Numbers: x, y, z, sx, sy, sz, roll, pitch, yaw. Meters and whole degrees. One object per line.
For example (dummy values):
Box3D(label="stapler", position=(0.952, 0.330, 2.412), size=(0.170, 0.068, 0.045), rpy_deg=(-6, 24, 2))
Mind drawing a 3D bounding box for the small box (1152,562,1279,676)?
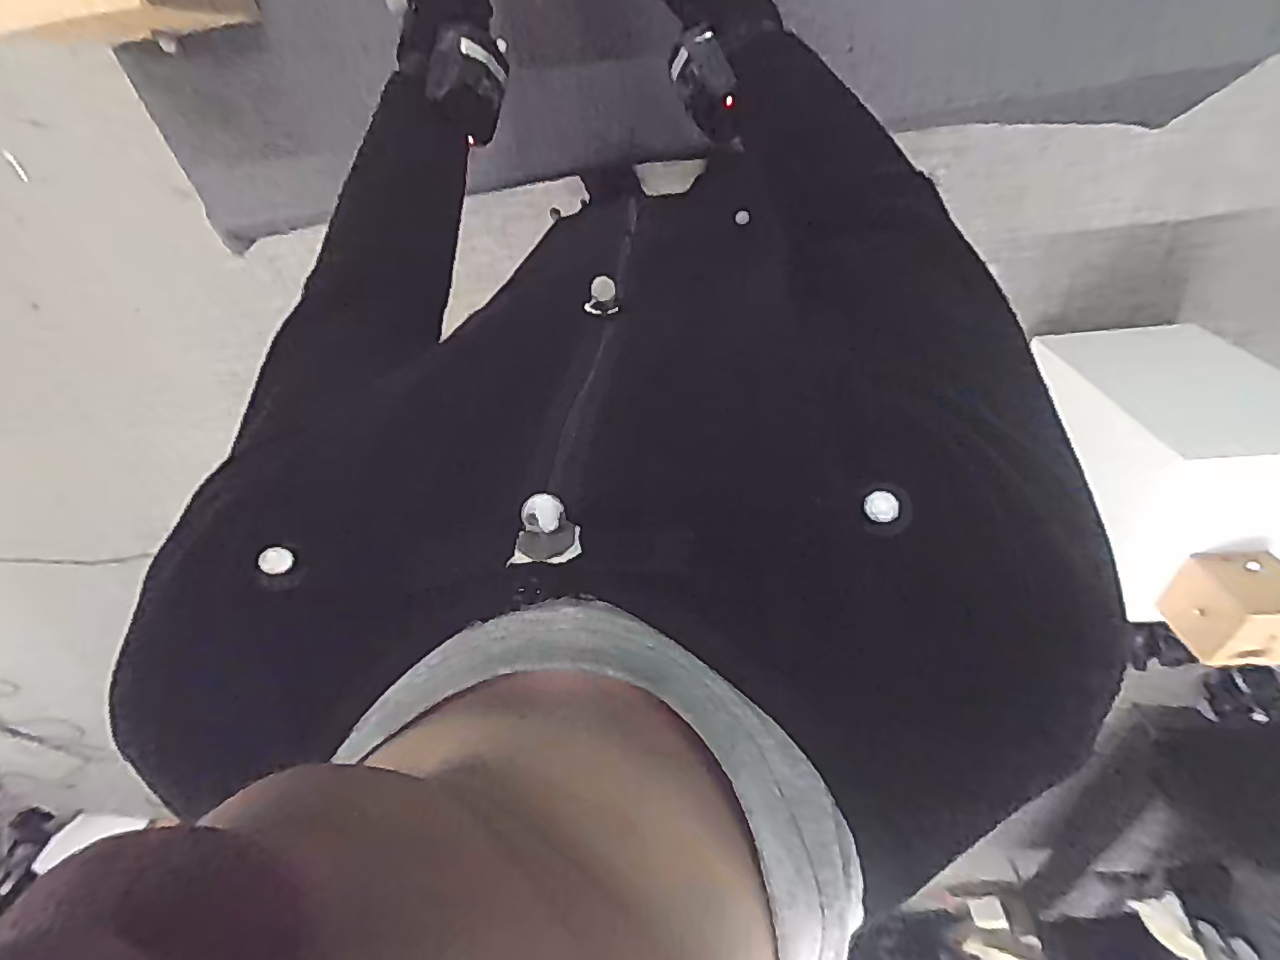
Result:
Box3D(label="small box", position=(1.273, 0.298, 1.166), size=(0.168, 0.176, 0.179), rpy_deg=(-4, 127, 4))

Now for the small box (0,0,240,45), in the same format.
Box3D(label="small box", position=(-0.479, -0.474, 0.443), size=(0.179, 0.176, 0.168), rpy_deg=(-6, 126, 4))
